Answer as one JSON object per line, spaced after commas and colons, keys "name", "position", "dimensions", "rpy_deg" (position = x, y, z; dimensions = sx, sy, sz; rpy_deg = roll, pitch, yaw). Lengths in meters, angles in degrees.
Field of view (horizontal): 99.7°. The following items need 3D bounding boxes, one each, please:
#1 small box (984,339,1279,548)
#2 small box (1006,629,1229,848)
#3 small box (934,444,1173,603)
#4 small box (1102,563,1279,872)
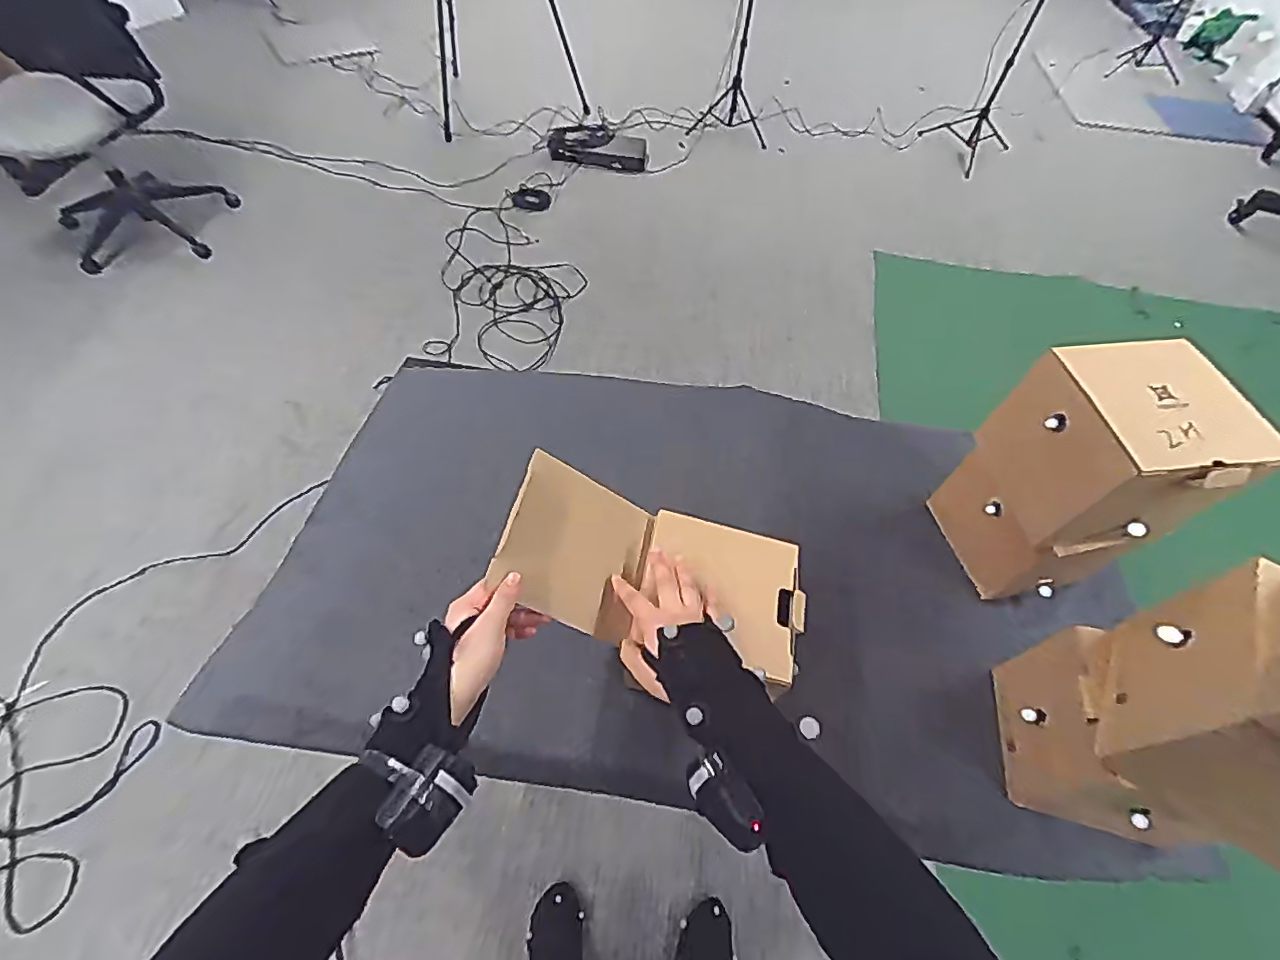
{"name": "small box", "position": [0.549, -0.039, 0.631], "dimensions": [0.168, 0.176, 0.179], "rpy_deg": [-5, 58, -2]}
{"name": "small box", "position": [0.544, 0.293, 0.604], "dimensions": [0.179, 0.176, 0.168], "rpy_deg": [13, 54, 7]}
{"name": "small box", "position": [0.561, 0.053, 0.768], "dimensions": [0.168, 0.176, 0.179], "rpy_deg": [-10, 59, -7]}
{"name": "small box", "position": [0.552, 0.211, 0.463], "dimensions": [0.179, 0.176, 0.168], "rpy_deg": [32, 58, 18]}
